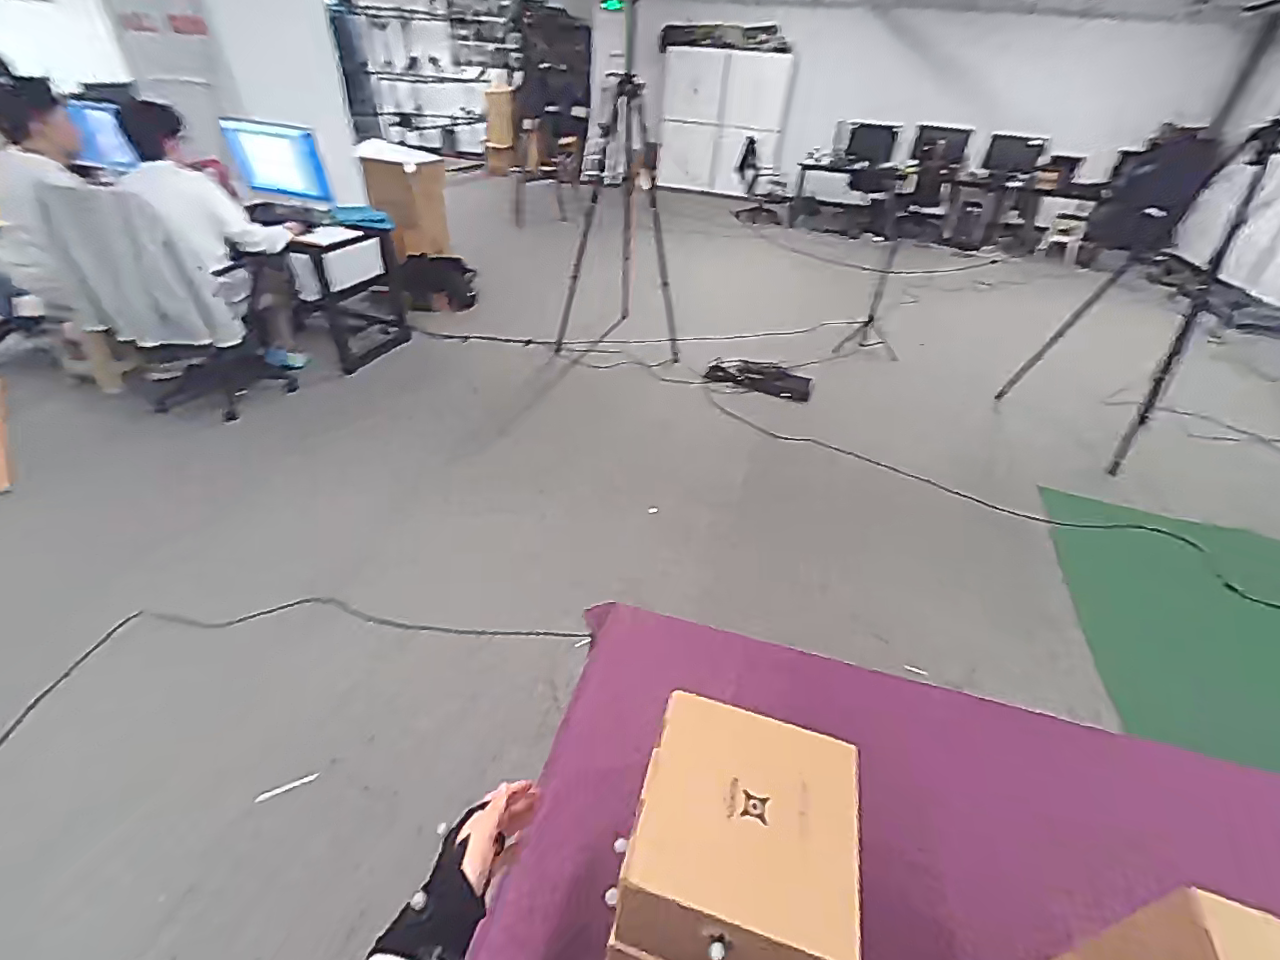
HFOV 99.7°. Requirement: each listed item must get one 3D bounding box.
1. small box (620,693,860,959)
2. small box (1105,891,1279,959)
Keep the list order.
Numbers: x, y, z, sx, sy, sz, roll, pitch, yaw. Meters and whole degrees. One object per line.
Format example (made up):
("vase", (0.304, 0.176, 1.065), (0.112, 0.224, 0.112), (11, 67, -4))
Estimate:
("small box", (0.087, 0.333, 0.492), (0.179, 0.176, 0.168), (14, 39, 12))
("small box", (0.471, 0.445, 0.380), (0.179, 0.176, 0.168), (16, 39, 16))
